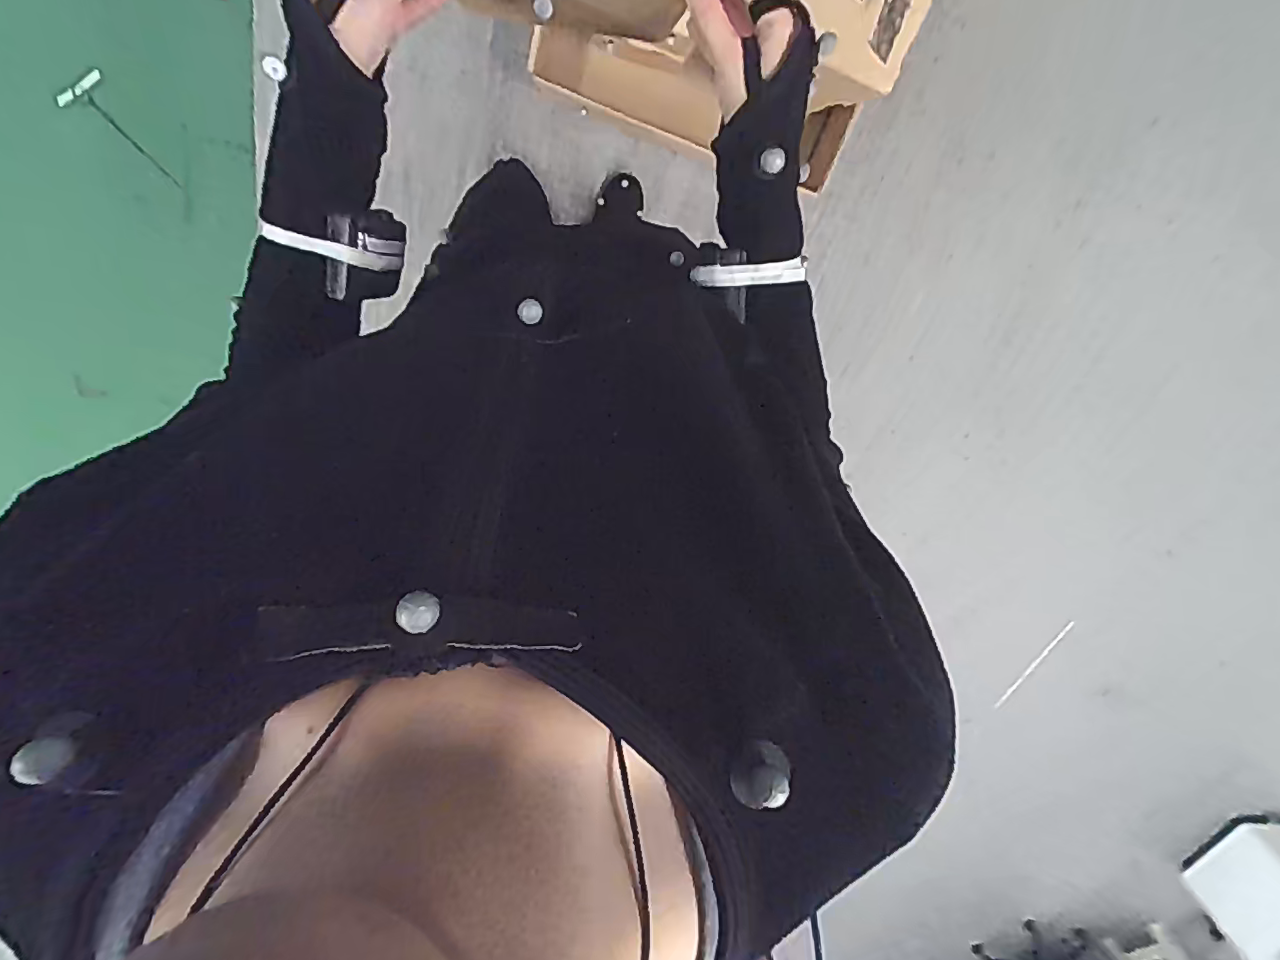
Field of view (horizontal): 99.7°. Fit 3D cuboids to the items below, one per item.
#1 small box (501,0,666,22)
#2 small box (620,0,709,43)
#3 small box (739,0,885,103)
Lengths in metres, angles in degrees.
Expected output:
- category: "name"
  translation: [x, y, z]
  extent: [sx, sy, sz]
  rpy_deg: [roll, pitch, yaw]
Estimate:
- category: "small box"
  translation: [-0.051, -0.432, 0.354]
  extent: [0.179, 0.176, 0.168]
  rpy_deg: [3, 120, -7]
- category: "small box"
  translation: [0.031, -0.810, 0.833]
  extent: [0.179, 0.176, 0.168]
  rpy_deg: [13, 119, -11]
- category: "small box"
  translation: [0.272, -0.743, 0.877]
  extent: [0.168, 0.176, 0.179]
  rpy_deg: [17, 118, -11]
